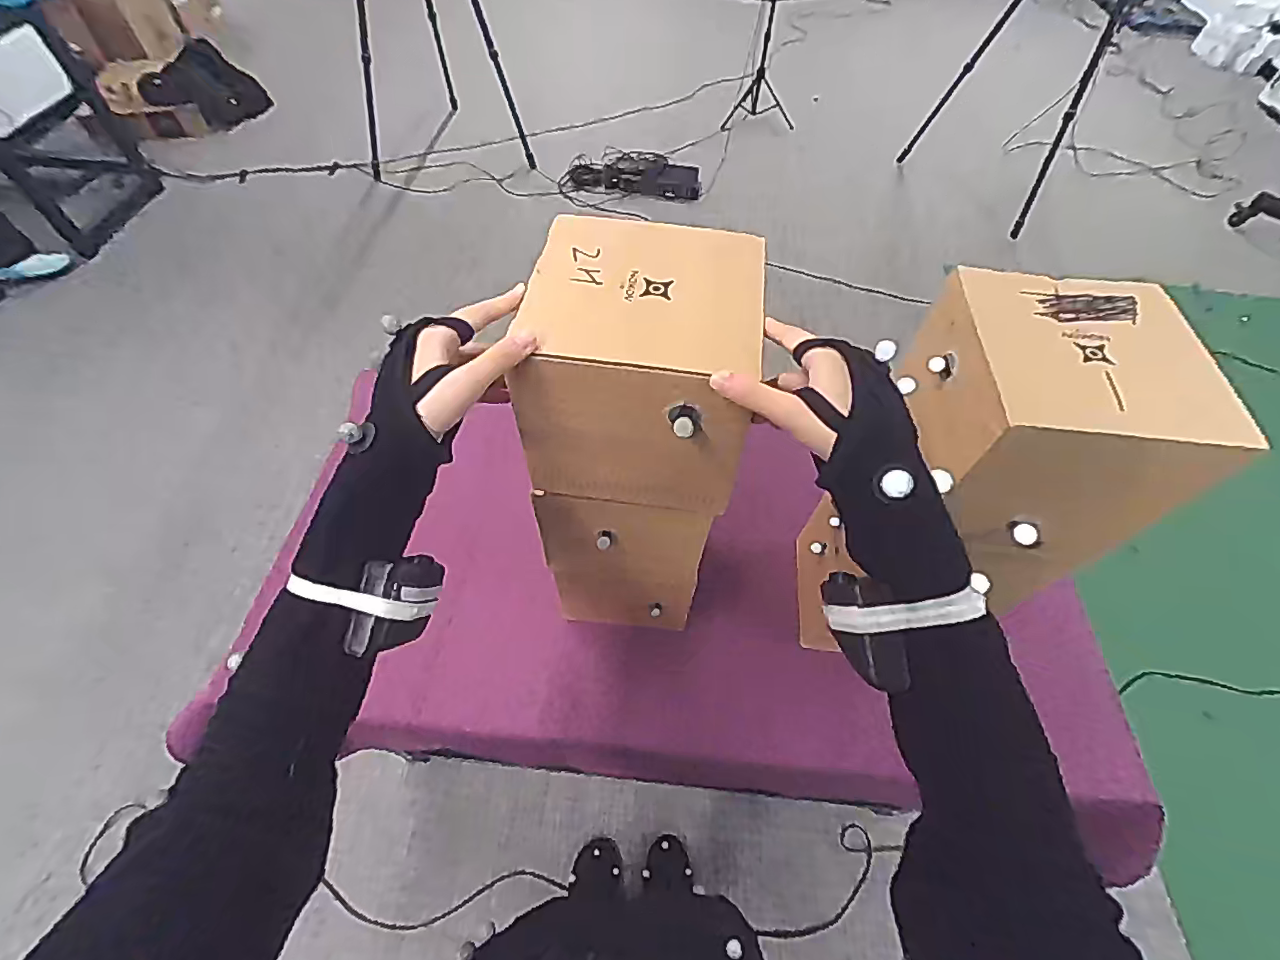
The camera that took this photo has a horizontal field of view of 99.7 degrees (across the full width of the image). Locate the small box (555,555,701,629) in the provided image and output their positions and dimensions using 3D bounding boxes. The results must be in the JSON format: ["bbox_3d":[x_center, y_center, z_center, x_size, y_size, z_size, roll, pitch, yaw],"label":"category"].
[{"bbox_3d":[-0.011,0.097,0.754,0.179,0.176,0.168,6,54,2],"label":"small box"}]

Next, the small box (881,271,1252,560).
[{"bbox_3d":[0.330,-0.052,0.472,0.168,0.176,0.179,6,55,3],"label":"small box"}]

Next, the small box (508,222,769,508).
[{"bbox_3d":[0.005,-0.092,0.468,0.179,0.176,0.168,8,54,4],"label":"small box"}]

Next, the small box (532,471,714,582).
[{"bbox_3d":[-0.010,0.003,0.618,0.179,0.176,0.168,6,54,2],"label":"small box"}]

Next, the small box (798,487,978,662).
[{"bbox_3d":[0.322,0.135,0.743,0.168,0.176,0.179,7,55,3],"label":"small box"}]
